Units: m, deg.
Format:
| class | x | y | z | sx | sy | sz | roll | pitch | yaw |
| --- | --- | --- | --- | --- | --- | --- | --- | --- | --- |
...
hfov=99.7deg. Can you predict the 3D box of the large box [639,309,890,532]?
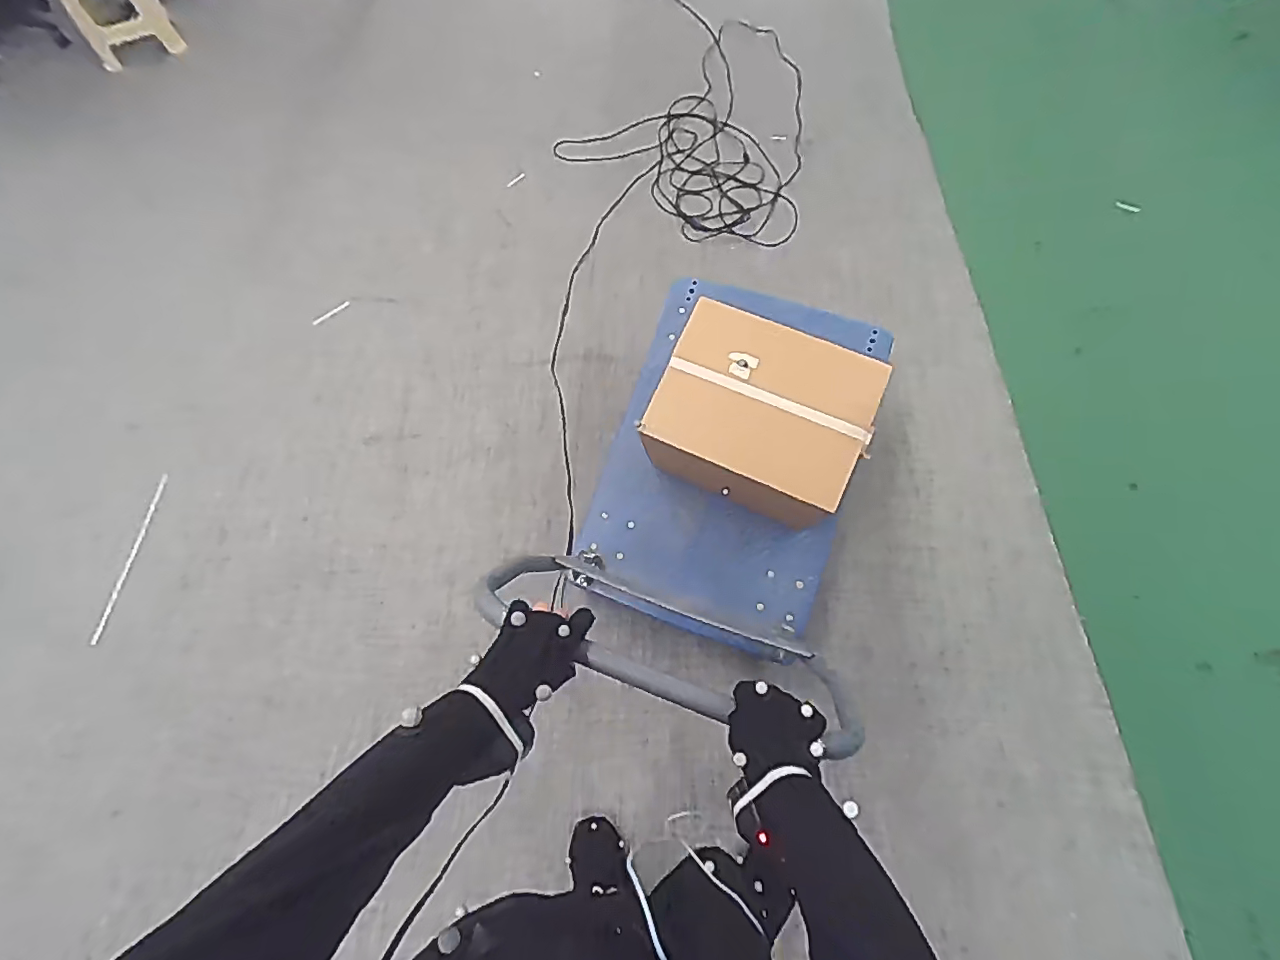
| class | x | y | z | sx | sy | sz | roll | pitch | yaw |
| --- | --- | --- | --- | --- | --- | --- | --- | --- | --- |
| large box | 0.258 | -0.110 | 1.190 | 0.408 | 0.320 | 0.320 | 24 | 82 | 11 |
